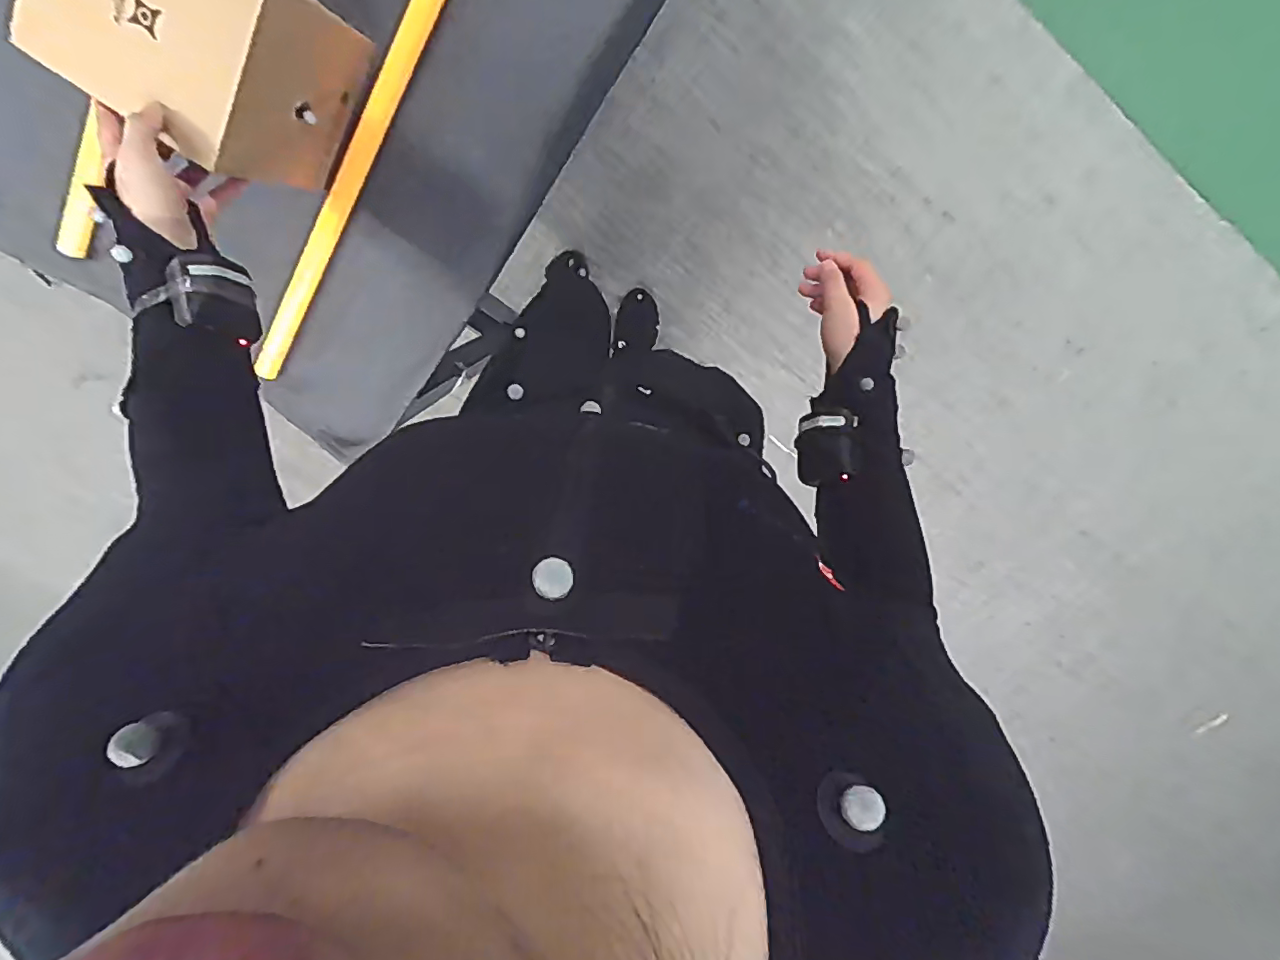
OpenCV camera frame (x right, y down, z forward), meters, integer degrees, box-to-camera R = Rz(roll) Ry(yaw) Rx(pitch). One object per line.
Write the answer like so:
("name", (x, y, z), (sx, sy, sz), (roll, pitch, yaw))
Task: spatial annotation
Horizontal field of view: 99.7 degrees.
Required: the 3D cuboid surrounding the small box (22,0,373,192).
("small box", (-0.391, -0.398, 0.508), (0.179, 0.176, 0.168), (33, 110, -10))
